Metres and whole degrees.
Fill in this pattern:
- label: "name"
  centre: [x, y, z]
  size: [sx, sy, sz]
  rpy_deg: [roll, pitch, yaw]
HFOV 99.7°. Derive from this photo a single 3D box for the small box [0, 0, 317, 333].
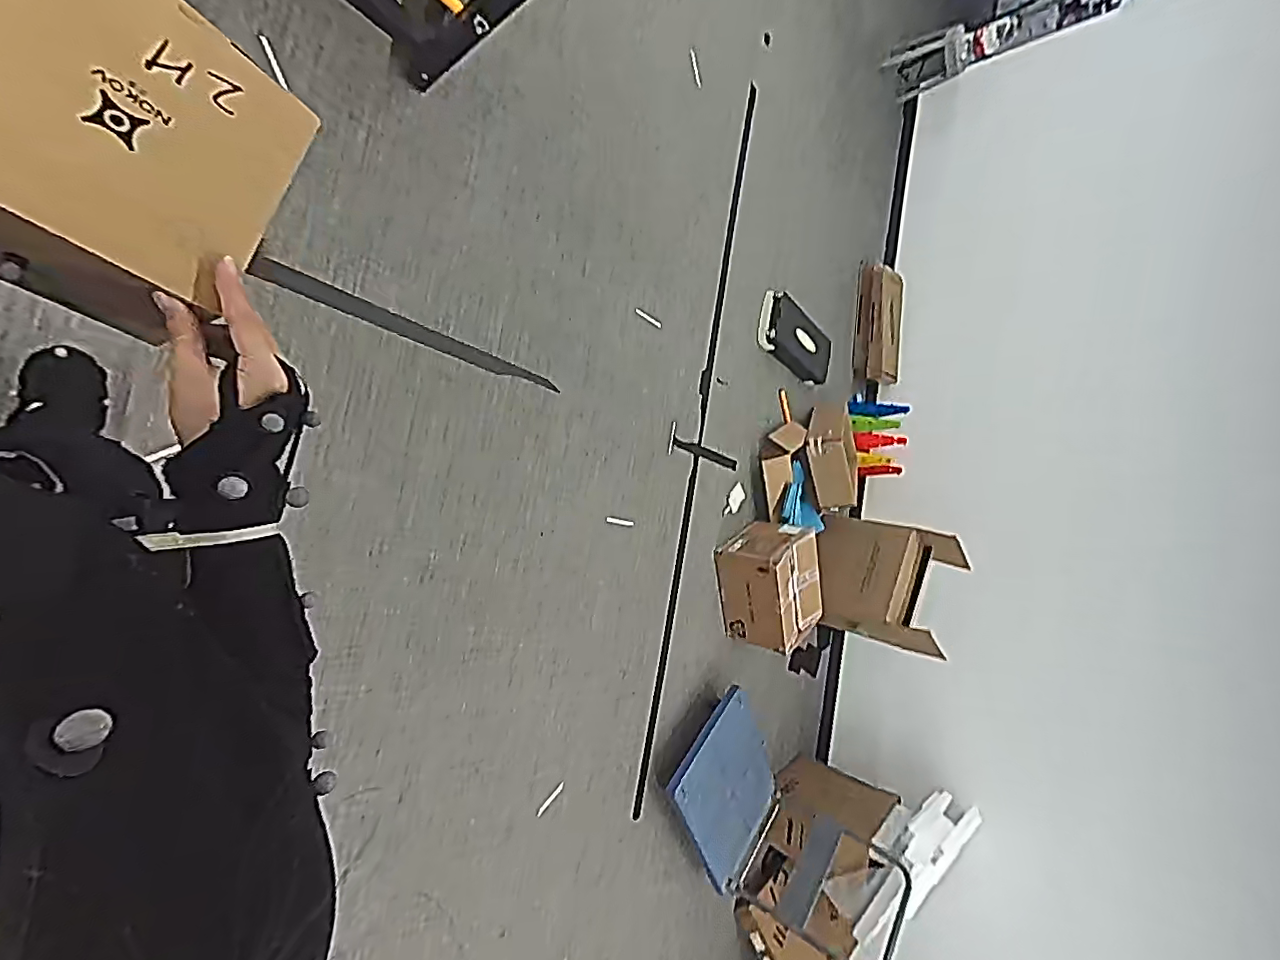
- label: "small box"
  centre: [-0.370, -0.222, 0.371]
  size: [0.168, 0.176, 0.179]
  rpy_deg: [33, 65, -50]
